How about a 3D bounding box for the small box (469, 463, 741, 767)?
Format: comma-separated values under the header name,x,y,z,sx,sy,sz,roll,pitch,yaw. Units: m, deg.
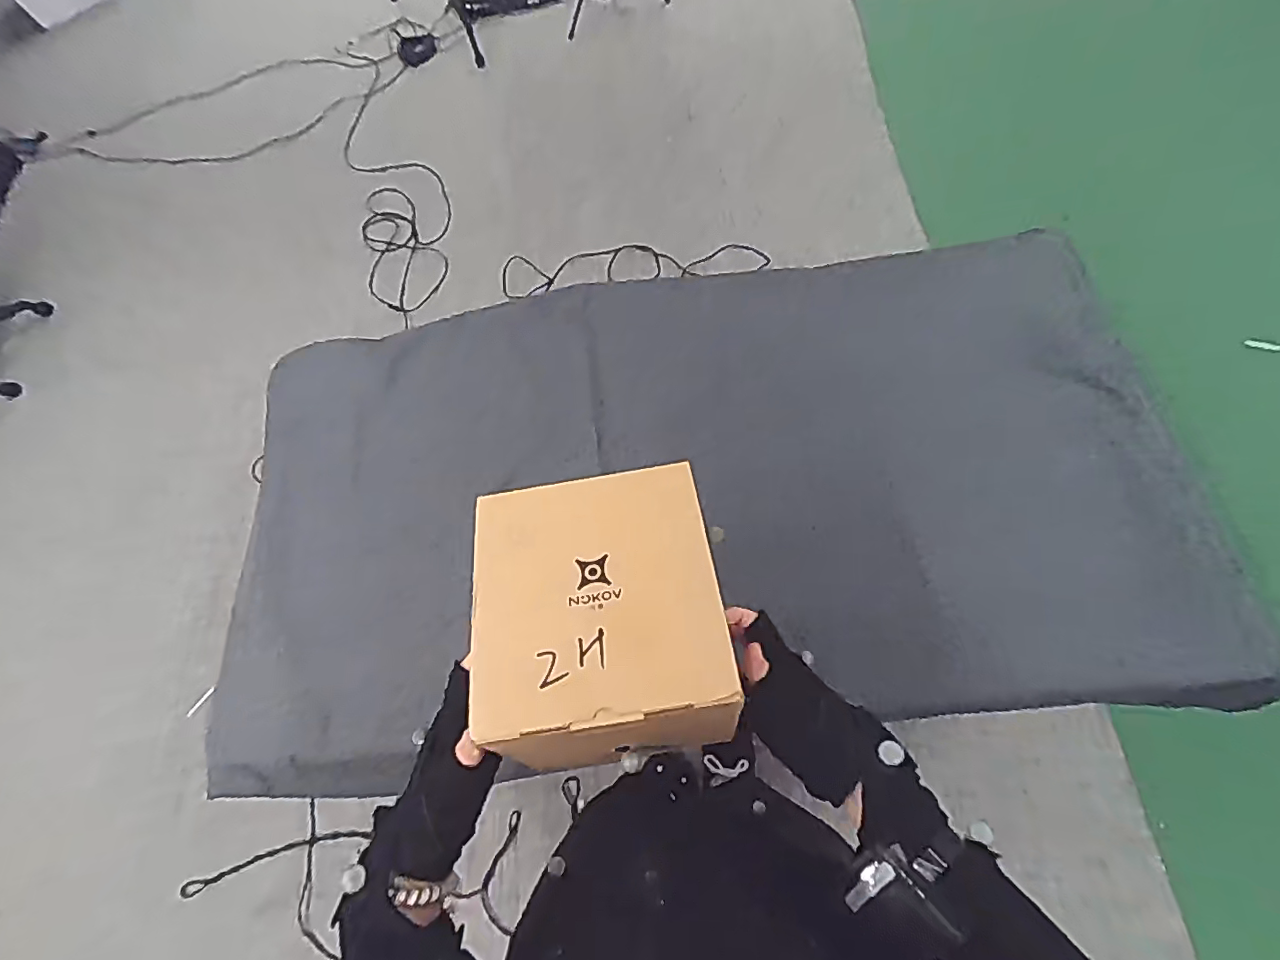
name,x,y,z,sx,sy,sz,roll,pitch,yaw
small box,-0.023,0.113,0.430,0.168,0.176,0.179,-10,57,1
